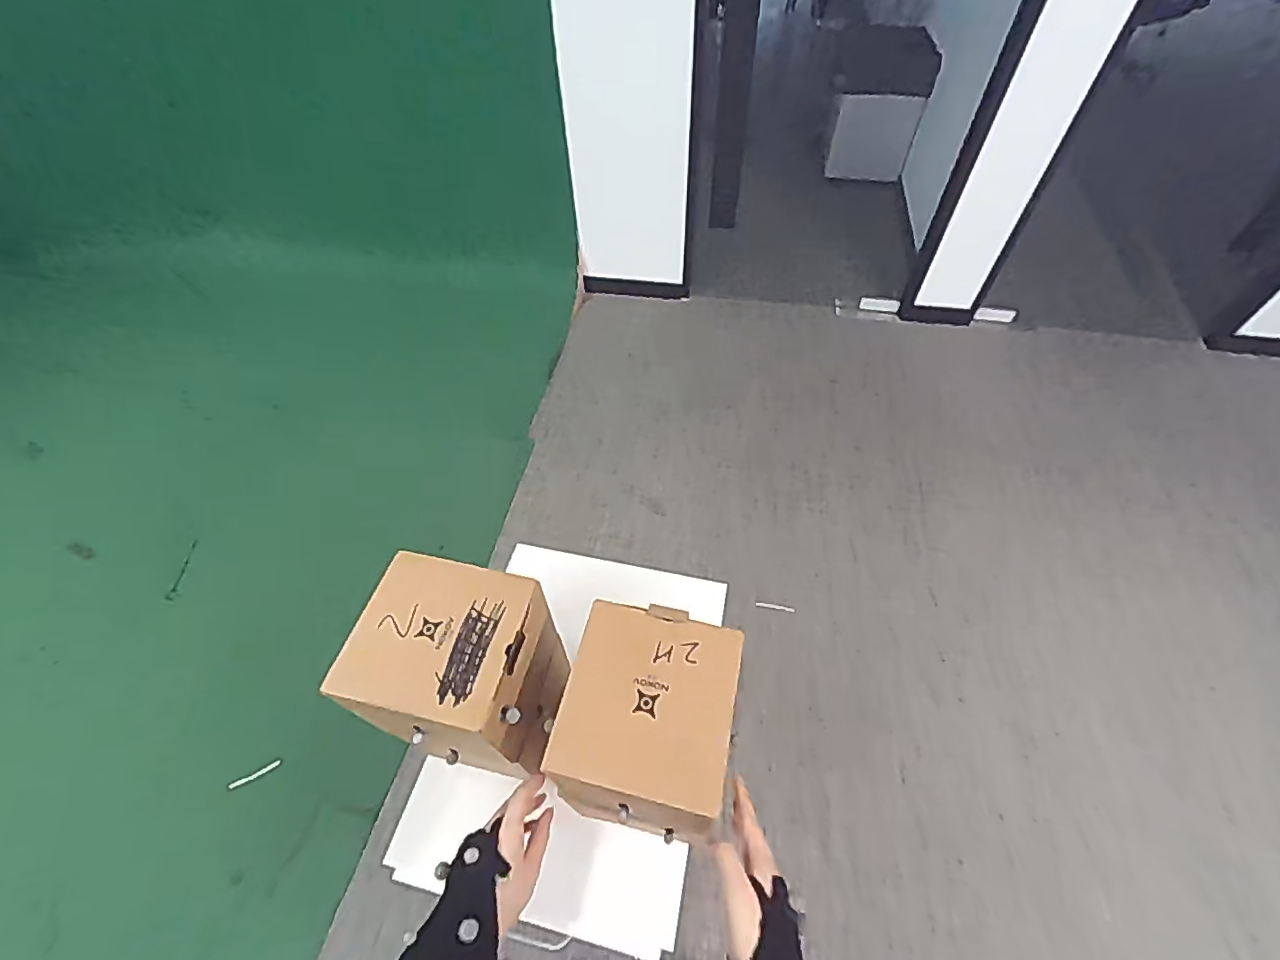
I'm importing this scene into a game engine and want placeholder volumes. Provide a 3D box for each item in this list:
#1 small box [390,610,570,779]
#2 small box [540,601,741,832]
[{"bbox_3d":[-0.210,0.308,0.767,0.179,0.176,0.168,10,54,7],"label":"small box"},{"bbox_3d":[0.009,0.261,0.589,0.168,0.176,0.179,11,53,9],"label":"small box"}]
